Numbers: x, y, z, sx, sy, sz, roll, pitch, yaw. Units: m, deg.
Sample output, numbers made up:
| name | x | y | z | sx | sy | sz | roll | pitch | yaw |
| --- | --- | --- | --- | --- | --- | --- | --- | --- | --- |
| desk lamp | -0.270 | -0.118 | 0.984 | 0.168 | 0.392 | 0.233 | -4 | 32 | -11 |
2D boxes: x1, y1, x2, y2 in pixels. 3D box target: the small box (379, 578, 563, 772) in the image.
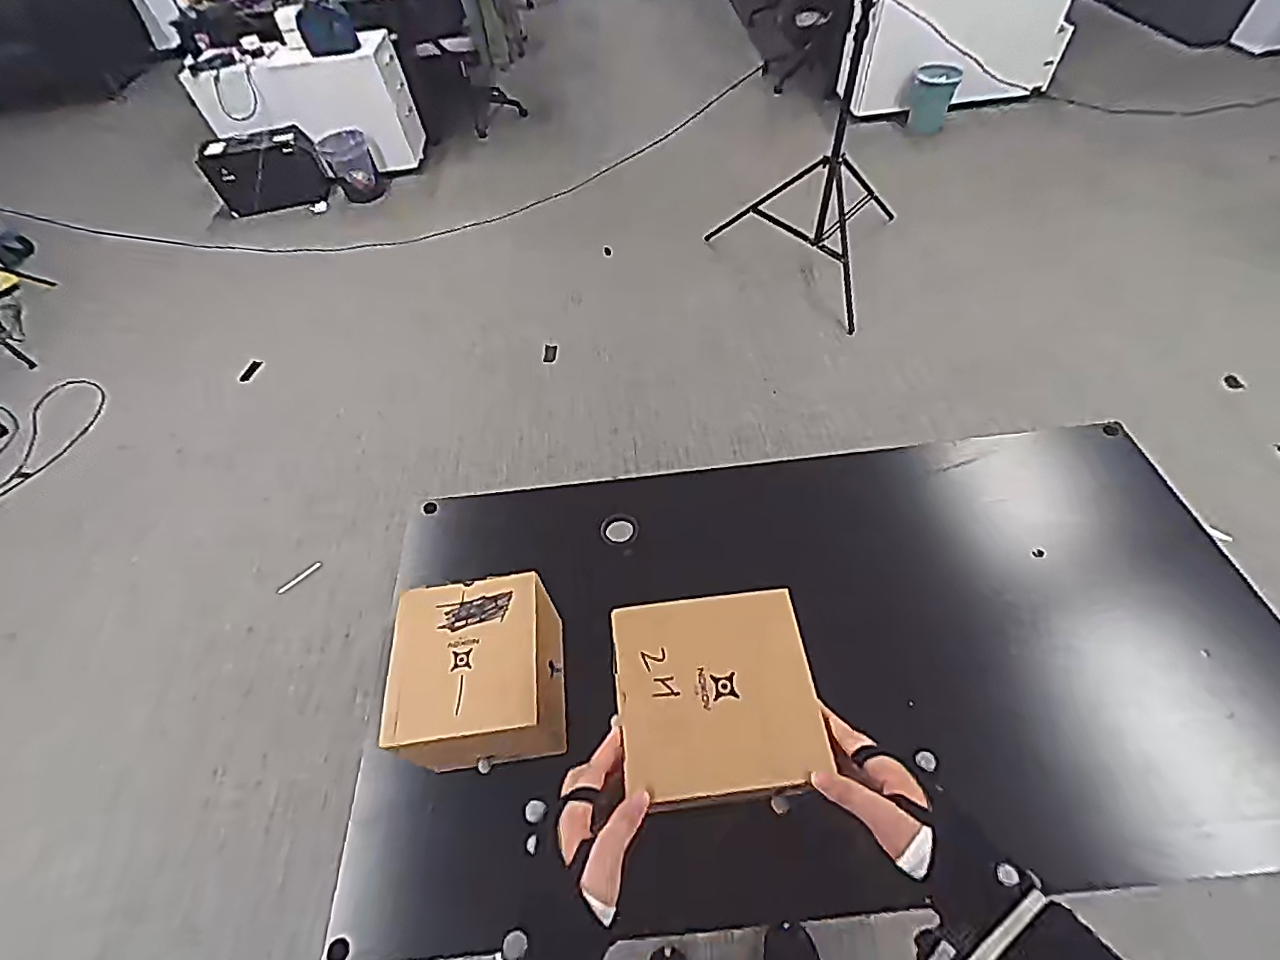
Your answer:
| name | x | y | z | sx | sy | sz | roll | pitch | yaw |
| --- | --- | --- | --- | --- | --- | --- | --- | --- | --- |
| small box | -0.192 | 0.244 | 0.668 | 0.168 | 0.176 | 0.179 | -8 | 55 | -1 |

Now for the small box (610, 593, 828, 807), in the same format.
| name | x | y | z | sx | sy | sz | roll | pitch | yaw |
| --- | --- | --- | --- | --- | --- | --- | --- | --- | --- |
| small box | 0.067 | 0.231 | 0.556 | 0.179 | 0.176 | 0.168 | -7 | 56 | -1 |
